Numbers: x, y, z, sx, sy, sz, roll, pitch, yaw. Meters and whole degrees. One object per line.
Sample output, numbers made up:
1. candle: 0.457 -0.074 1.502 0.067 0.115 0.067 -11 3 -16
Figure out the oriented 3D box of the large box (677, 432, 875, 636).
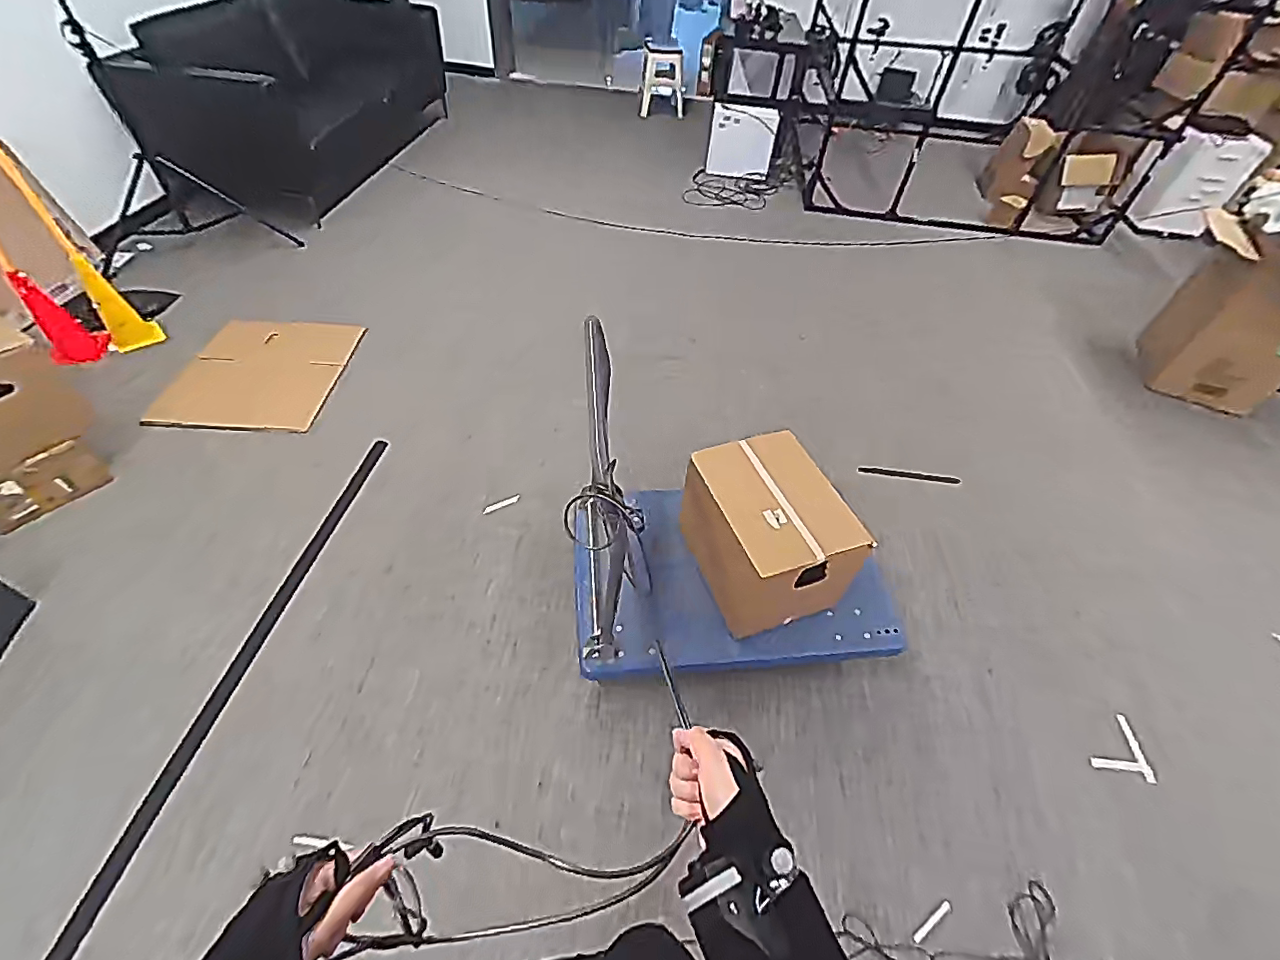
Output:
1. large box: 0.331 0.139 1.452 0.320 0.320 0.408 -14 53 -15
